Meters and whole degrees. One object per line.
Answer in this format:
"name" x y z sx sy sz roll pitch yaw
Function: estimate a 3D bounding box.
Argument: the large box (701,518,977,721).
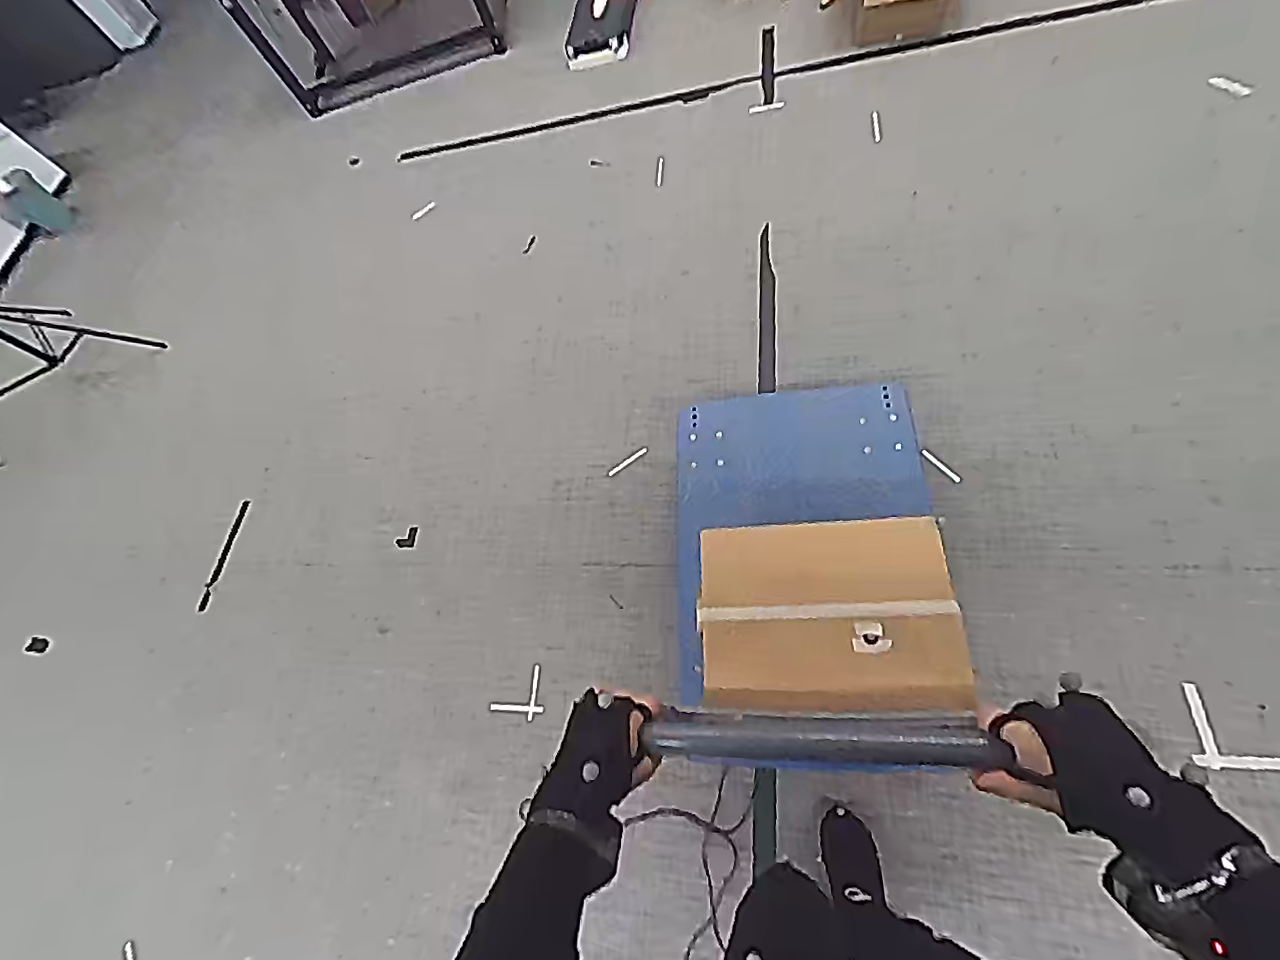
"large box" 0.336 0.282 1.022 0.408 0.320 0.320 -5 65 13
